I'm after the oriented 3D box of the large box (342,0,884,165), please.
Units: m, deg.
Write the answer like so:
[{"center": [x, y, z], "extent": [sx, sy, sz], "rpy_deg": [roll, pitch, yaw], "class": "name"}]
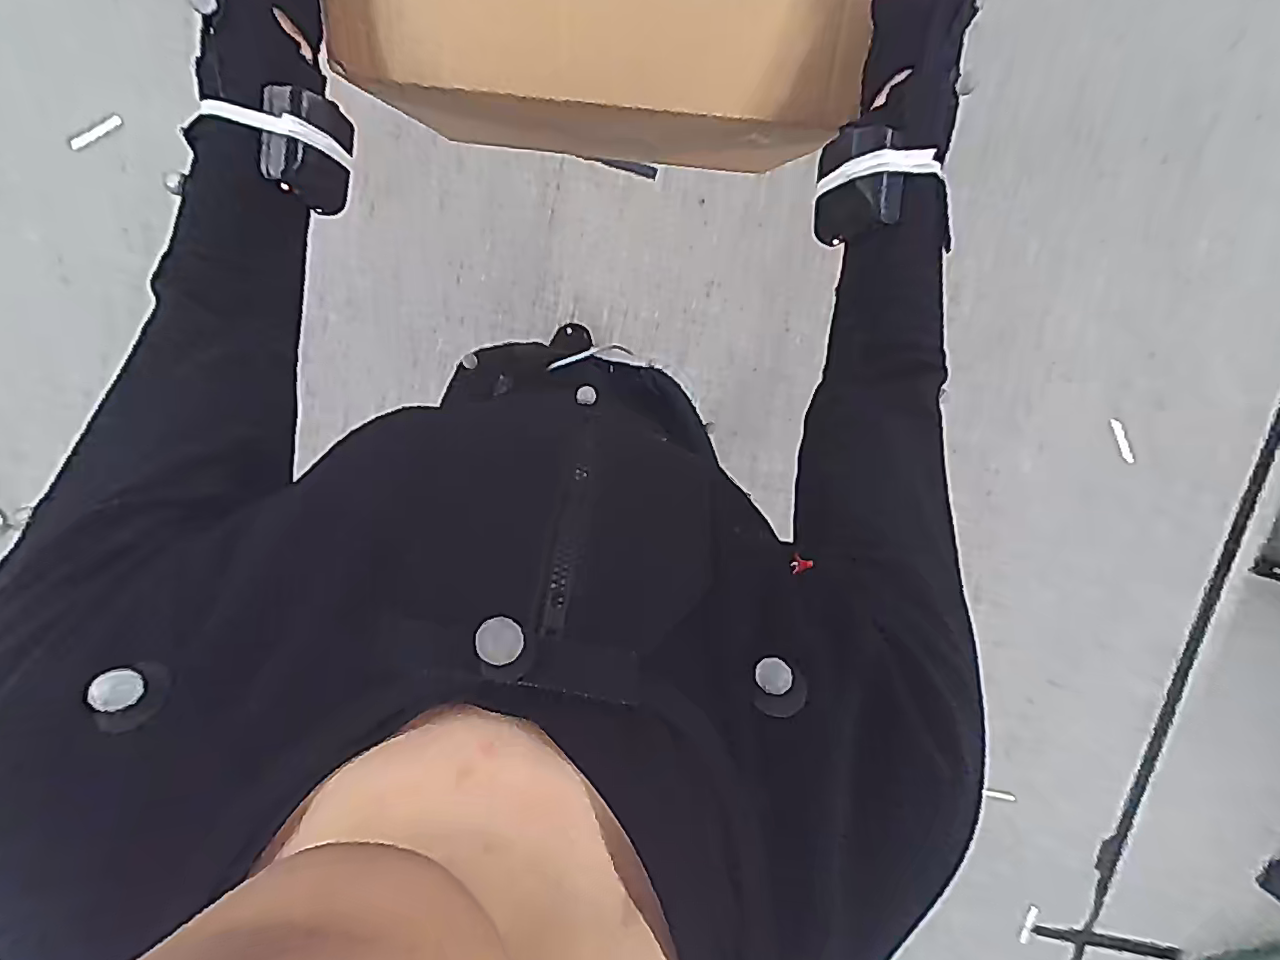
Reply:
[{"center": [-0.018, -0.497, 0.492], "extent": [0.408, 0.320, 0.320], "rpy_deg": [3, 114, -5], "class": "large box"}]
